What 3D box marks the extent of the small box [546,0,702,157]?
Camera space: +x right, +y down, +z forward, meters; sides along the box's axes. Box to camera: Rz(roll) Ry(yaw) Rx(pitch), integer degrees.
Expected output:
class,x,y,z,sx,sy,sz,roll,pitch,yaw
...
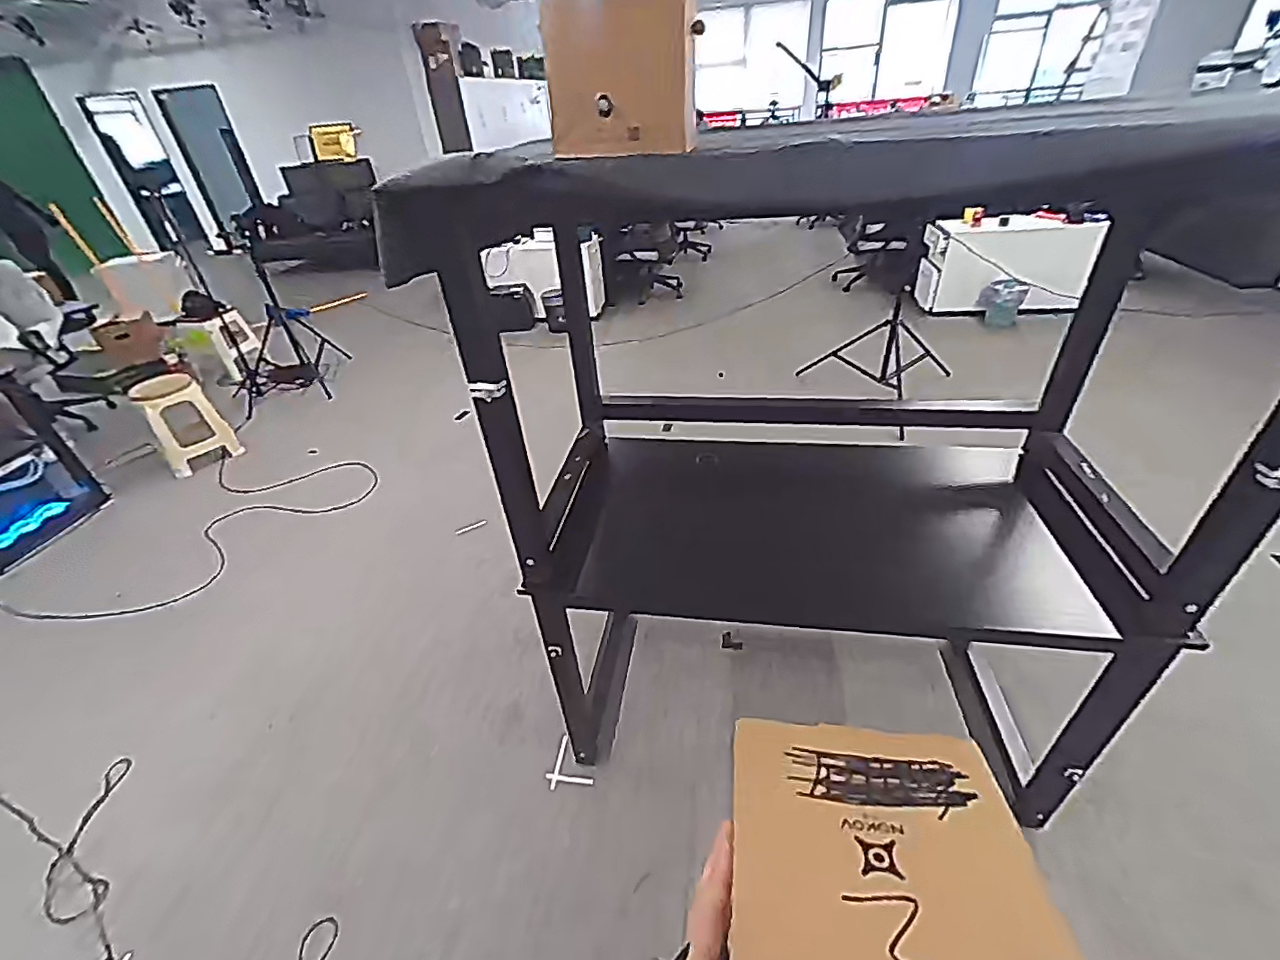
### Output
class,x,y,z,sx,sy,sz,roll,pitch,yaw
small box,-0.012,-0.513,0.684,0.168,0.176,0.179,3,35,8
